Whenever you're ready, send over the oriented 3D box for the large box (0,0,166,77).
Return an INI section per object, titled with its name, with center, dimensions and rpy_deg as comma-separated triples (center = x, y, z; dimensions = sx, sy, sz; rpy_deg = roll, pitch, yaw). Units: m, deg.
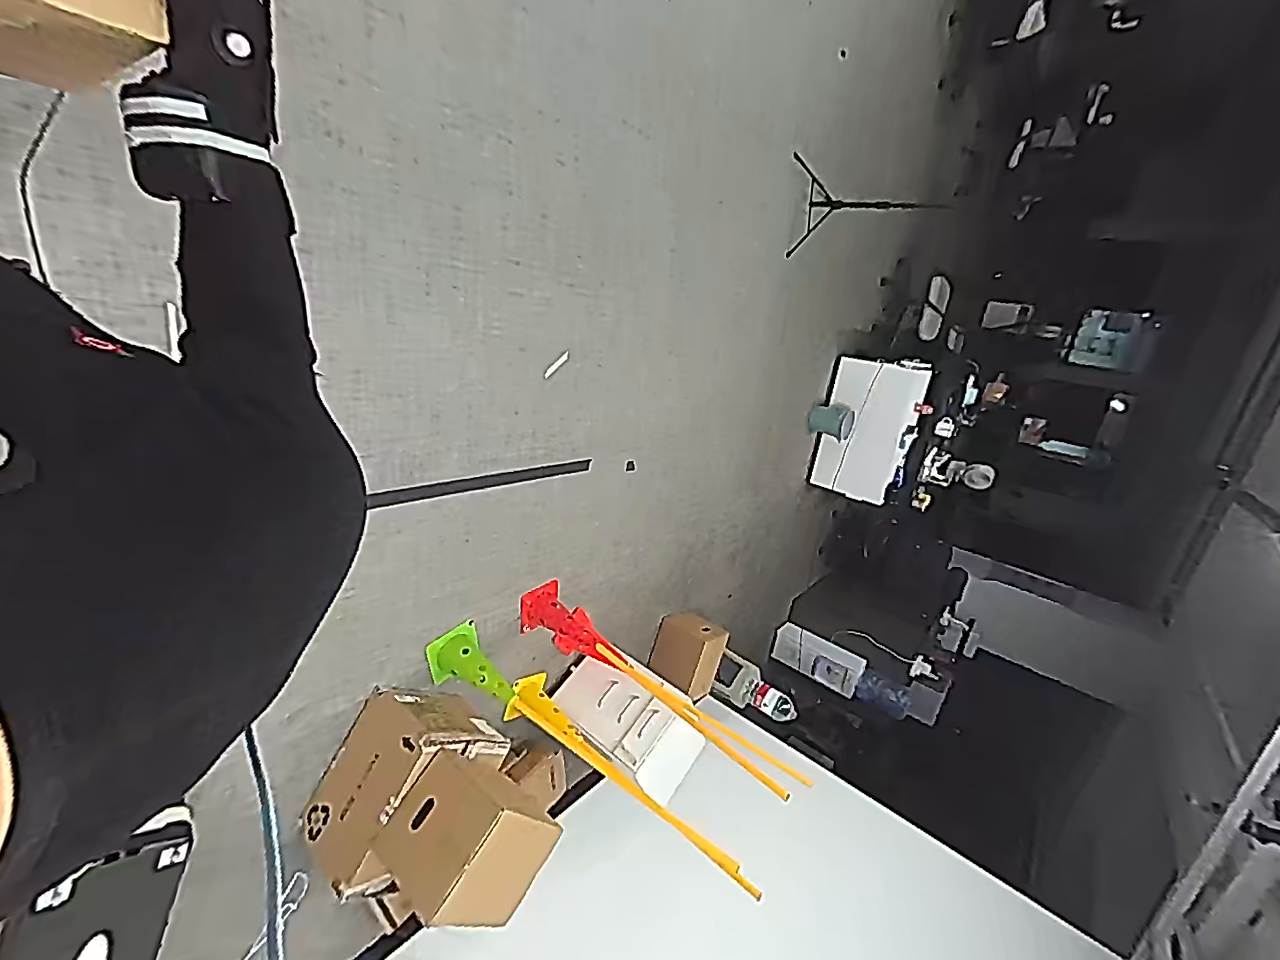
[large box]
center = -0.534, -0.449, 0.240
dimensions = 0.408, 0.320, 0.320
rpy_deg = -16, 121, -51
